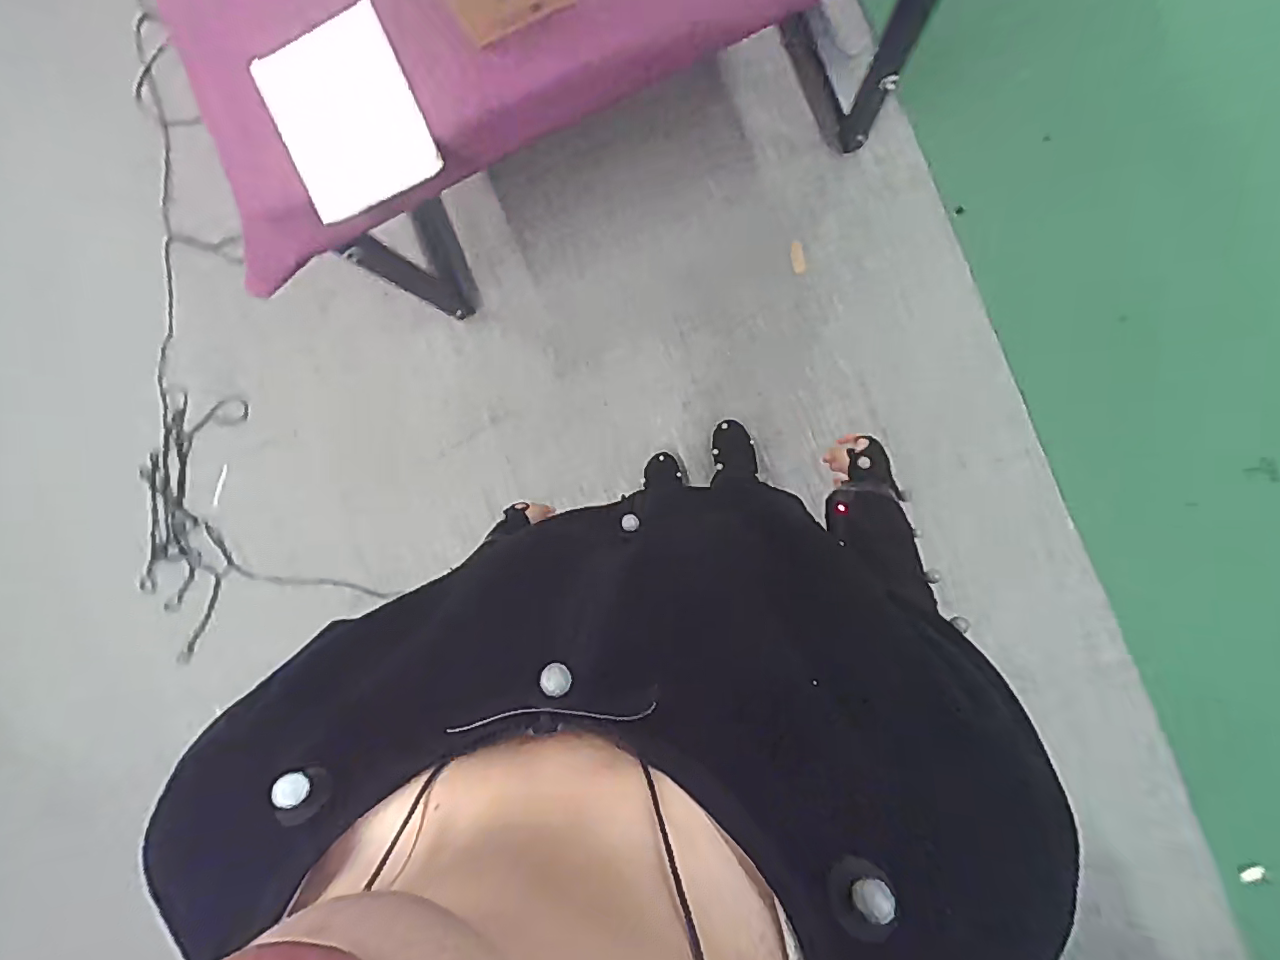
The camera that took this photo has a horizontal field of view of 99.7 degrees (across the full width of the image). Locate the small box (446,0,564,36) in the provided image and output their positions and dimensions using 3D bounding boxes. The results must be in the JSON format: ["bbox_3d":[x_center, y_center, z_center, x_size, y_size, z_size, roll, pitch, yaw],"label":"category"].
[{"bbox_3d":[-0.205,-0.724,0.690,0.168,0.176,0.179,-21,91,6],"label":"small box"}]
